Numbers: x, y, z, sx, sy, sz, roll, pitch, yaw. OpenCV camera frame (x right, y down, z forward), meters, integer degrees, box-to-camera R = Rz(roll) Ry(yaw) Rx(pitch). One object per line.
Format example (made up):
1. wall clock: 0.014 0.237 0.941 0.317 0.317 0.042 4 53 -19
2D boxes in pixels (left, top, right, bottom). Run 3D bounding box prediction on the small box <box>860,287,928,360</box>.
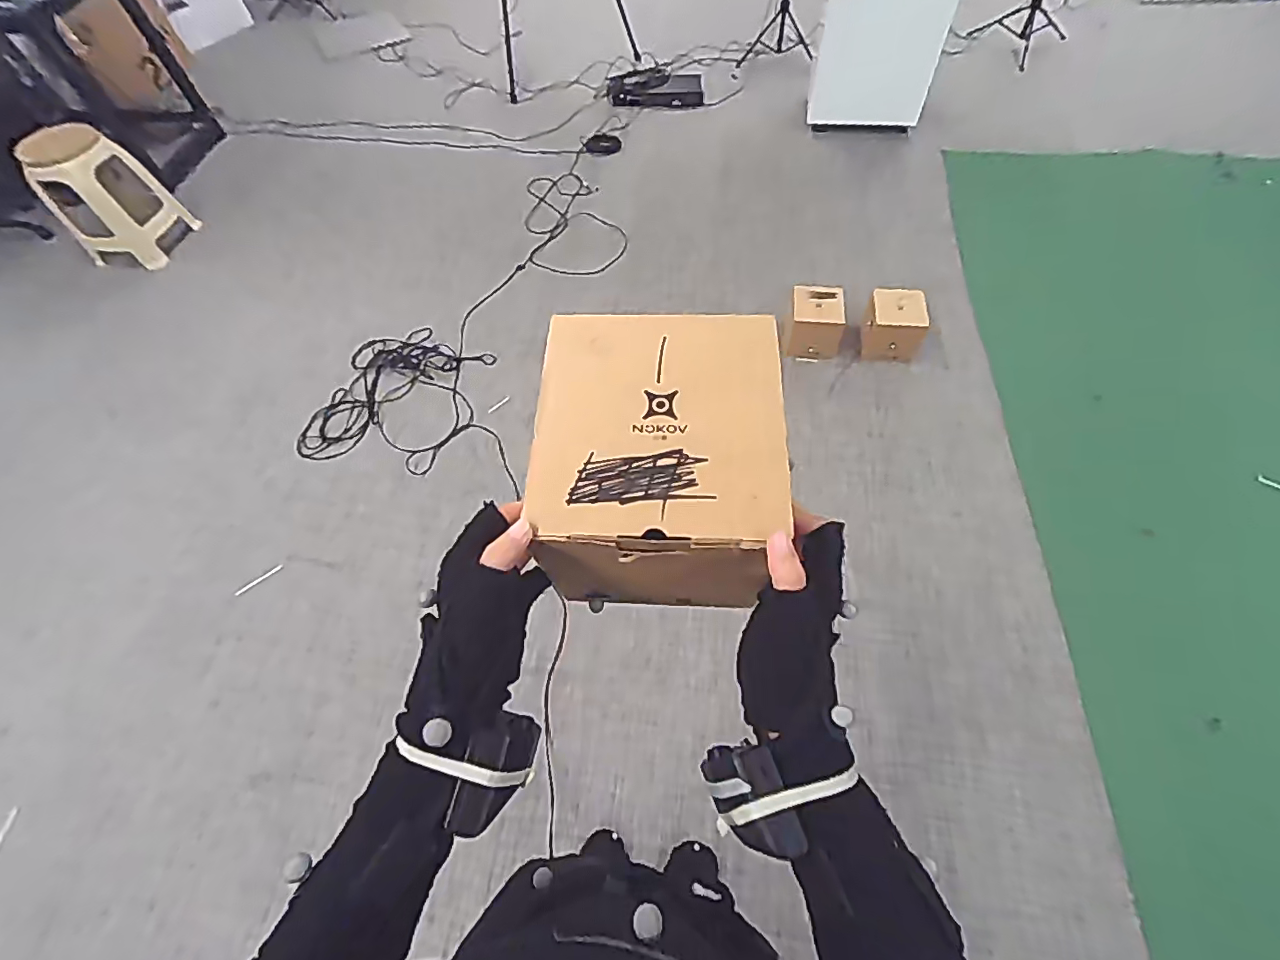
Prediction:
1. small box: 0.864 -0.533 1.854 0.168 0.176 0.179 5 59 7
